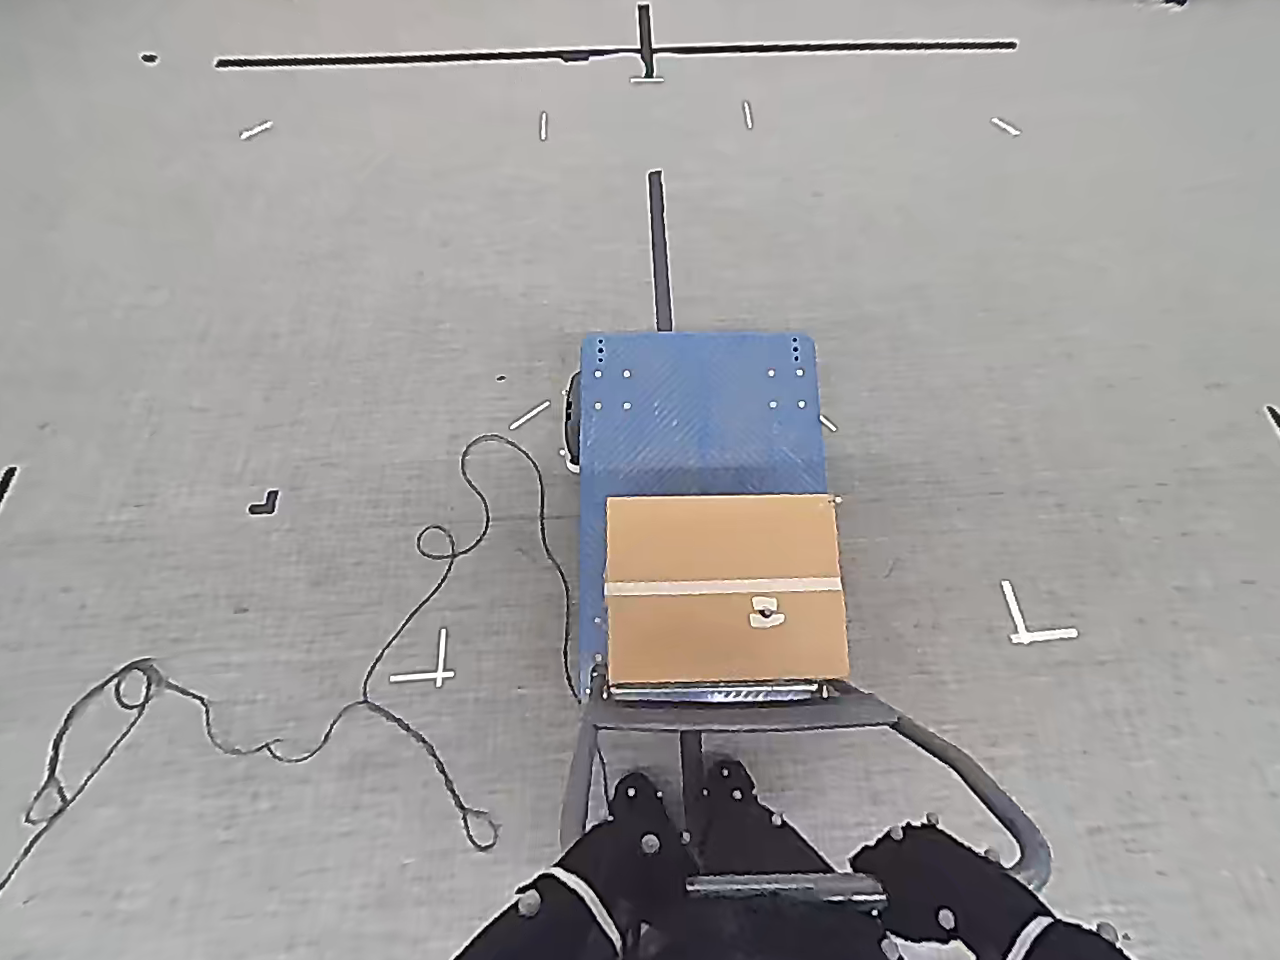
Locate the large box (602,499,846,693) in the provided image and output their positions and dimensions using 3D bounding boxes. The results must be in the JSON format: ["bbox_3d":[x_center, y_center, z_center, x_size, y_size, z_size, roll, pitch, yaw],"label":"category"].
[{"bbox_3d":[0.135,0.219,1.066,0.408,0.320,0.320,-1,80,-2],"label":"large box"}]
